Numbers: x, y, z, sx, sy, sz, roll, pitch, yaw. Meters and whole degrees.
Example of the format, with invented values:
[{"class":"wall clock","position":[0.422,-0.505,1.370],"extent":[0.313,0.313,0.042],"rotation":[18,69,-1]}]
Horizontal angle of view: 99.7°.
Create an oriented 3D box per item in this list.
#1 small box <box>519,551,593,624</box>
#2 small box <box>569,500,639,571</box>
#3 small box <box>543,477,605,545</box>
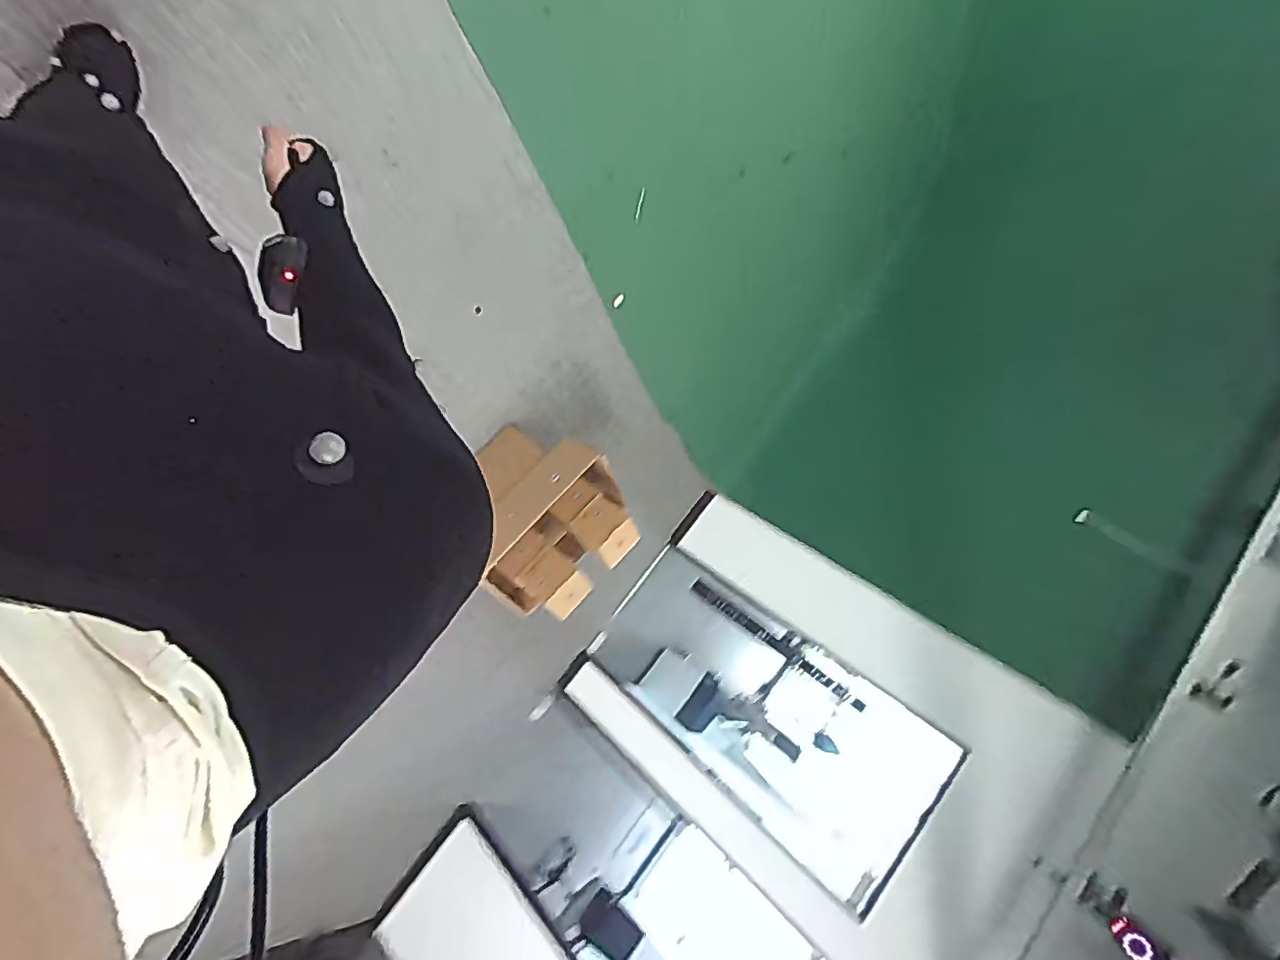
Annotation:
[{"class":"small box","position":[-0.302,0.377,1.926],"extent":[0.168,0.176,0.179],"rotation":[-47,148,-16]},{"class":"small box","position":[-0.133,0.202,2.009],"extent":[0.168,0.176,0.179],"rotation":[-47,147,-15]},{"class":"small box","position":[-0.245,0.120,2.098],"extent":[0.179,0.176,0.168],"rotation":[-46,148,-16]}]
